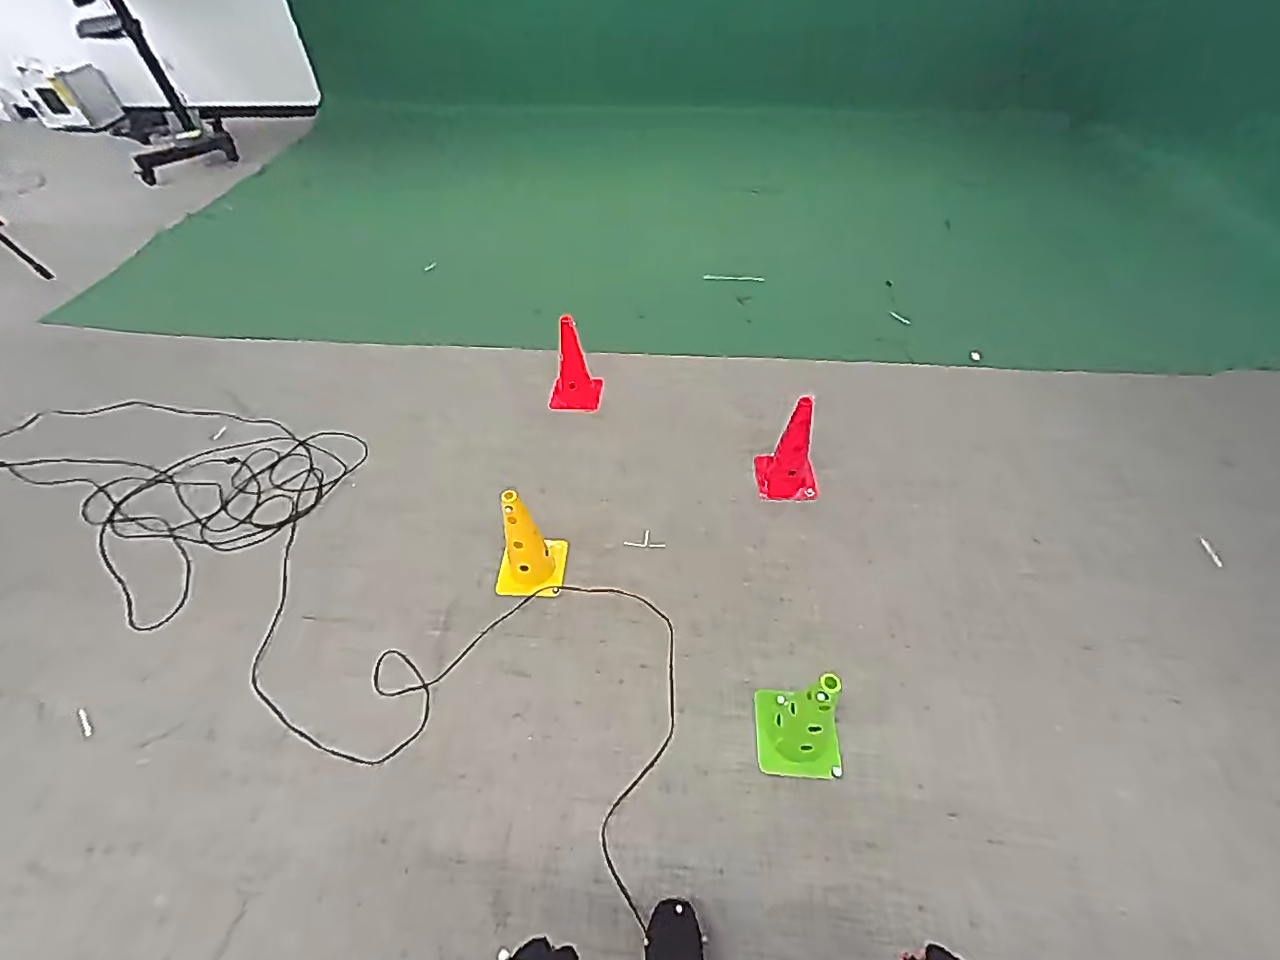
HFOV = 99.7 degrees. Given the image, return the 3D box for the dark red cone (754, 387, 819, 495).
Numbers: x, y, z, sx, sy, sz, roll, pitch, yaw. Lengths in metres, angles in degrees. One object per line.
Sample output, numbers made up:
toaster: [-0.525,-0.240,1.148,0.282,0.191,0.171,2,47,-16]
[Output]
dark red cone: [0.500,-0.136,1.750,0.202,0.394,0.201,-1,48,1]

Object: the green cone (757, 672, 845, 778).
green cone: [0.390,0.520,1.226,0.202,0.368,0.200,1,49,5]

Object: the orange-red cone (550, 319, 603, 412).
orange-red cone: [-0.265,-0.455,2.082,0.198,0.360,0.199,3,51,6]
